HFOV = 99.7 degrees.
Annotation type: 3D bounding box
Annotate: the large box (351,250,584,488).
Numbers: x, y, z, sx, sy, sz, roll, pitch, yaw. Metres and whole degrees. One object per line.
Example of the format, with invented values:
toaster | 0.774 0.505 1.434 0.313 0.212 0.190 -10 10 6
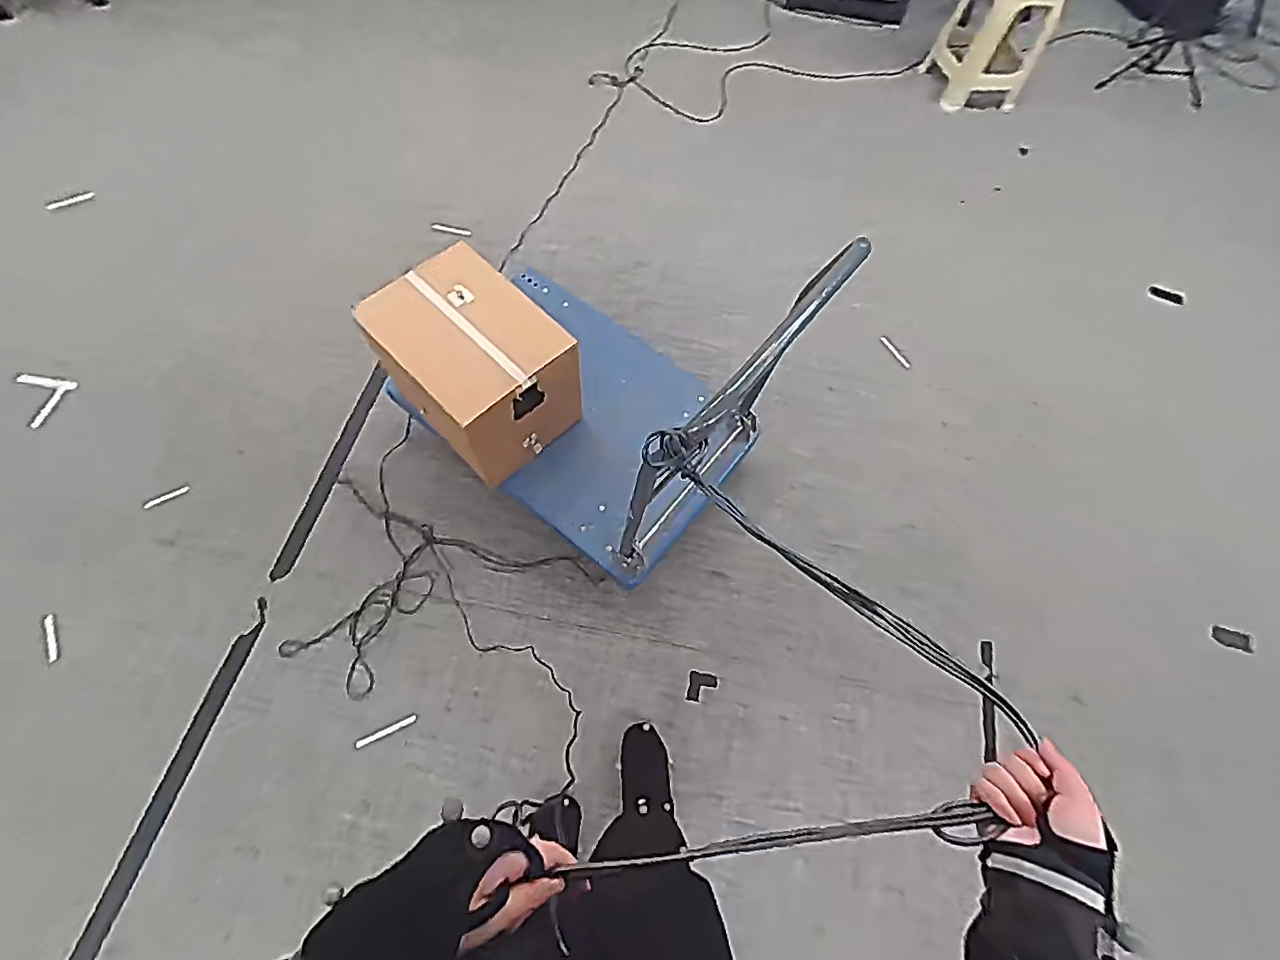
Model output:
large box | -0.384 -0.256 1.299 0.408 0.320 0.320 42 69 15
